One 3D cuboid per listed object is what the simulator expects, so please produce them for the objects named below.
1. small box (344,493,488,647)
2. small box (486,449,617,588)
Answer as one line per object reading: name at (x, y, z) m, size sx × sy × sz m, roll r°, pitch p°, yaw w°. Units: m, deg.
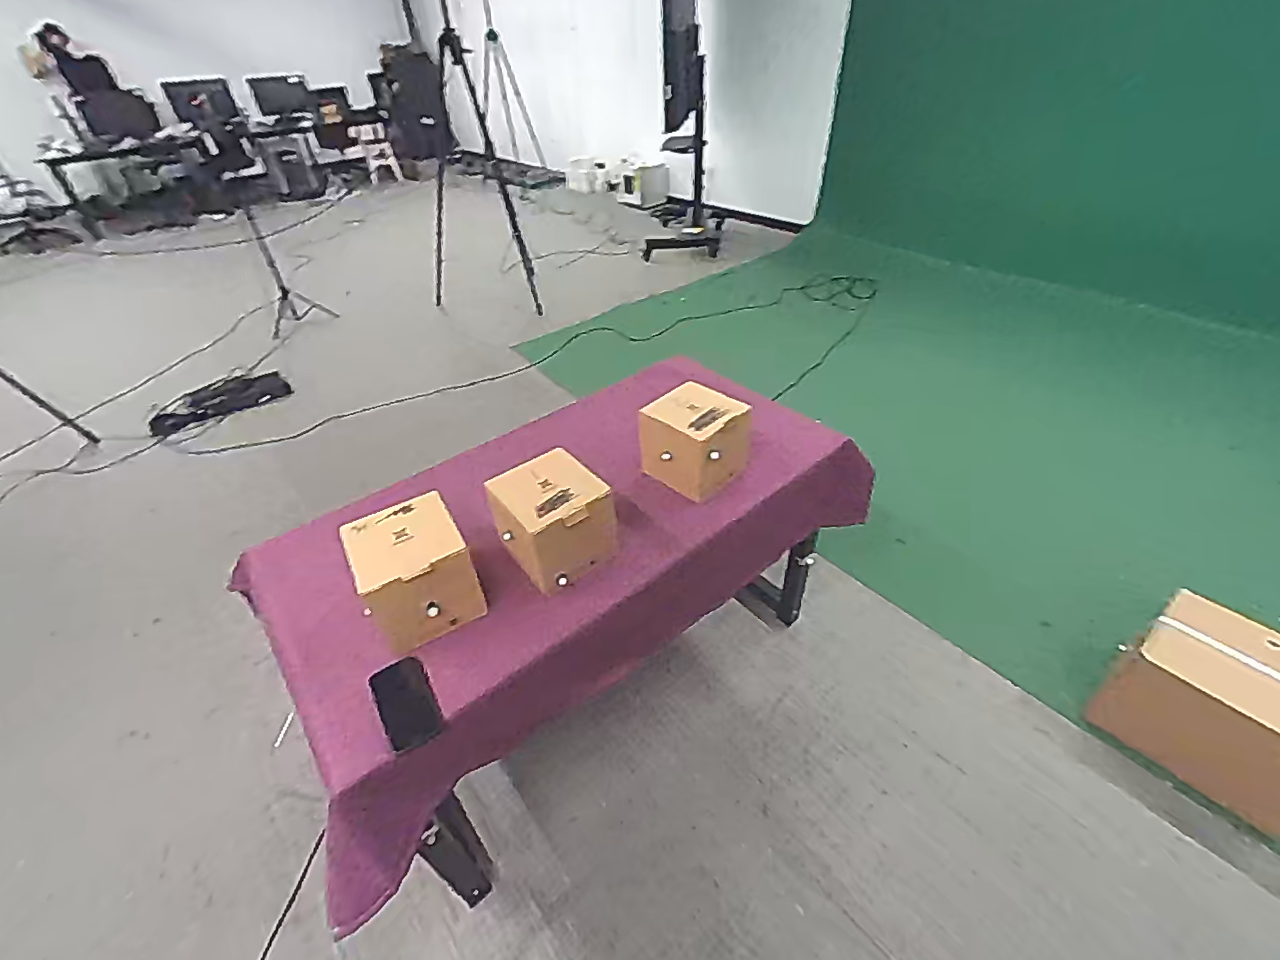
small box at (-0.380, 0.160, 0.931) m, size 0.168 × 0.176 × 0.179 m, roll -24°, pitch 44°, yaw -22°
small box at (-0.159, 0.077, 1.012) m, size 0.168 × 0.176 × 0.179 m, roll -29°, pitch 45°, yaw -28°
